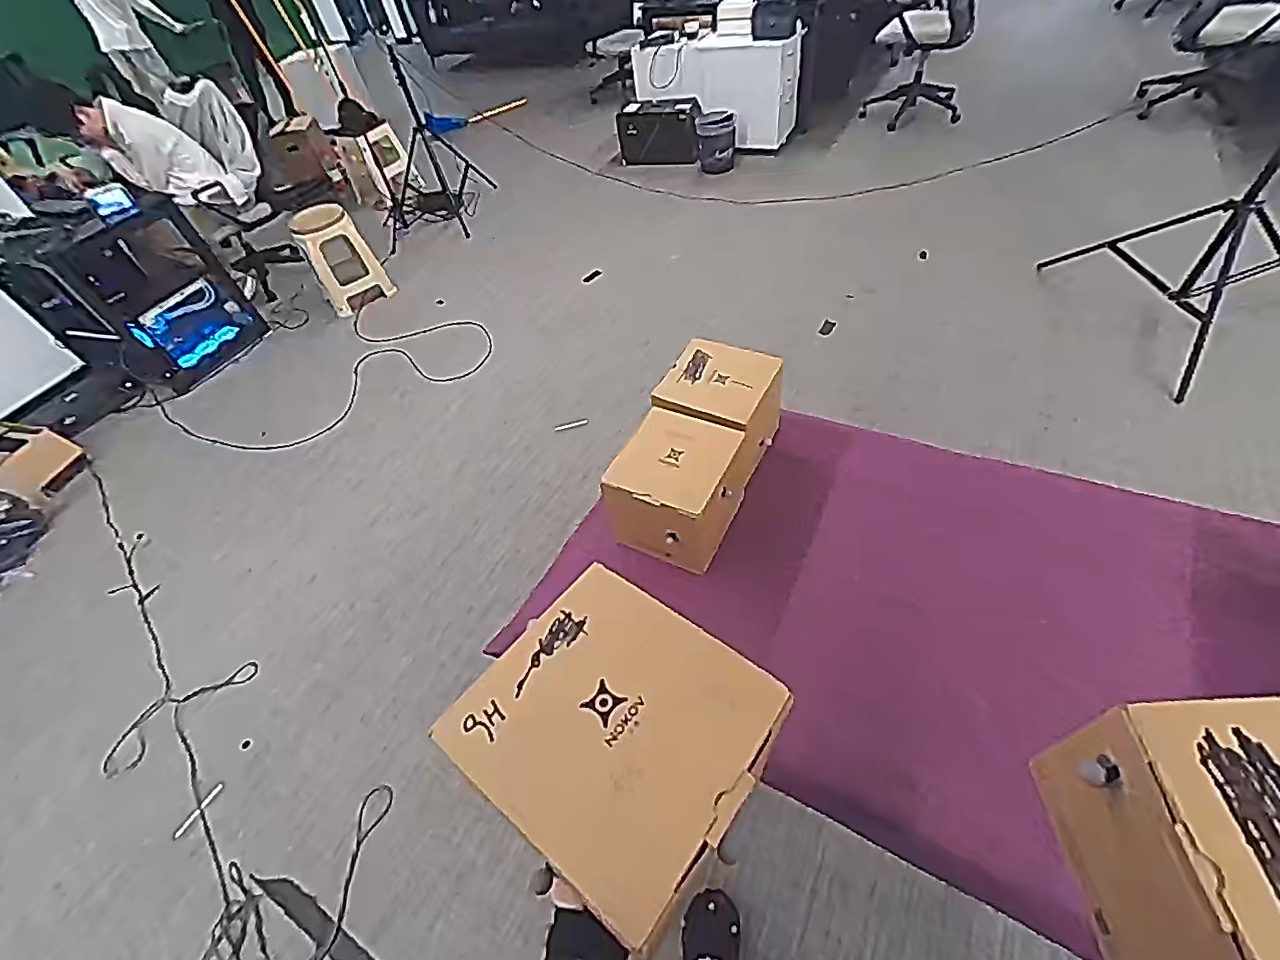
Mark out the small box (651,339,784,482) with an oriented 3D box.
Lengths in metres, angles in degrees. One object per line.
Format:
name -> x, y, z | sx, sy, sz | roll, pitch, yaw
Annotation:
small box -> 0.142, -0.122, 0.973 | 0.179, 0.176, 0.168 | 21, 59, 23

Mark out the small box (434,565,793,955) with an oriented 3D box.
small box -> -0.015, 0.204, 0.408 | 0.179, 0.176, 0.168 | 30, 54, 25
